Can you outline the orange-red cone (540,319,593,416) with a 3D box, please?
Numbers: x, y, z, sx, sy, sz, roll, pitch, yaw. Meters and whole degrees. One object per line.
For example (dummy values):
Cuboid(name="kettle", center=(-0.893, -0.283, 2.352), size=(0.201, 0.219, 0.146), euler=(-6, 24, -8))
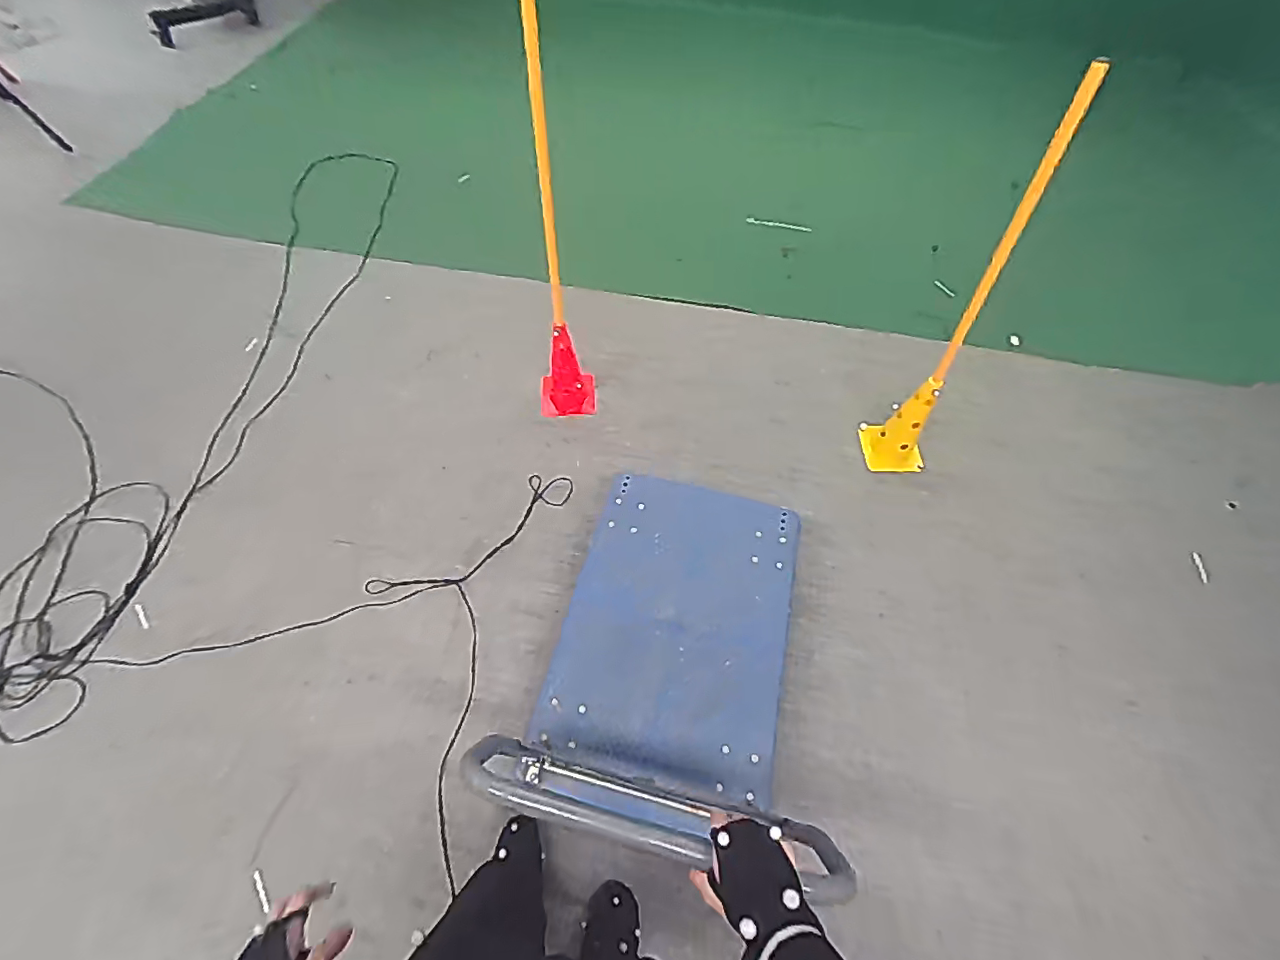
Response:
Cuboid(name="orange-red cone", center=(-0.274, -0.410, 1.879), size=(0.199, 0.360, 0.198), euler=(-3, 58, -2))
